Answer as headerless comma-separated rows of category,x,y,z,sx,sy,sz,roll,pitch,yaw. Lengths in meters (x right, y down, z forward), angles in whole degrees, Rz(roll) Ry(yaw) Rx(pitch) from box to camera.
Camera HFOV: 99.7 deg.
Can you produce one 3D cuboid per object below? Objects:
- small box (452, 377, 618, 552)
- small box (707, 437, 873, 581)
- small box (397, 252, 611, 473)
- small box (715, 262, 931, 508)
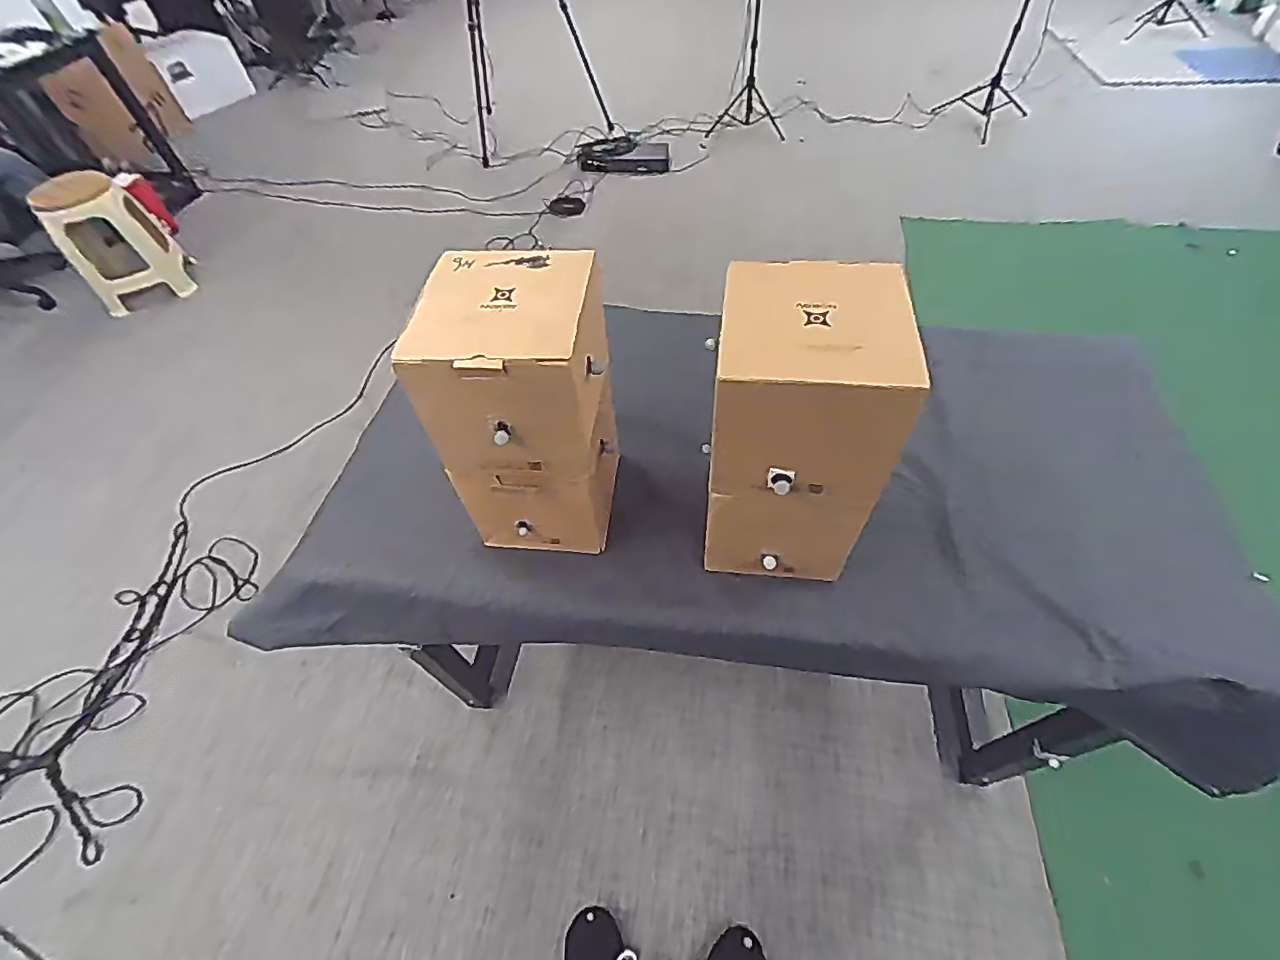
small box,-0.122,-0.026,0.718,0.168,0.176,0.179,3,53,5
small box,0.172,0.003,0.672,0.168,0.176,0.179,4,53,7
small box,-0.126,-0.122,0.585,0.168,0.176,0.179,2,54,5
small box,0.164,-0.095,0.543,0.168,0.176,0.179,4,53,8
